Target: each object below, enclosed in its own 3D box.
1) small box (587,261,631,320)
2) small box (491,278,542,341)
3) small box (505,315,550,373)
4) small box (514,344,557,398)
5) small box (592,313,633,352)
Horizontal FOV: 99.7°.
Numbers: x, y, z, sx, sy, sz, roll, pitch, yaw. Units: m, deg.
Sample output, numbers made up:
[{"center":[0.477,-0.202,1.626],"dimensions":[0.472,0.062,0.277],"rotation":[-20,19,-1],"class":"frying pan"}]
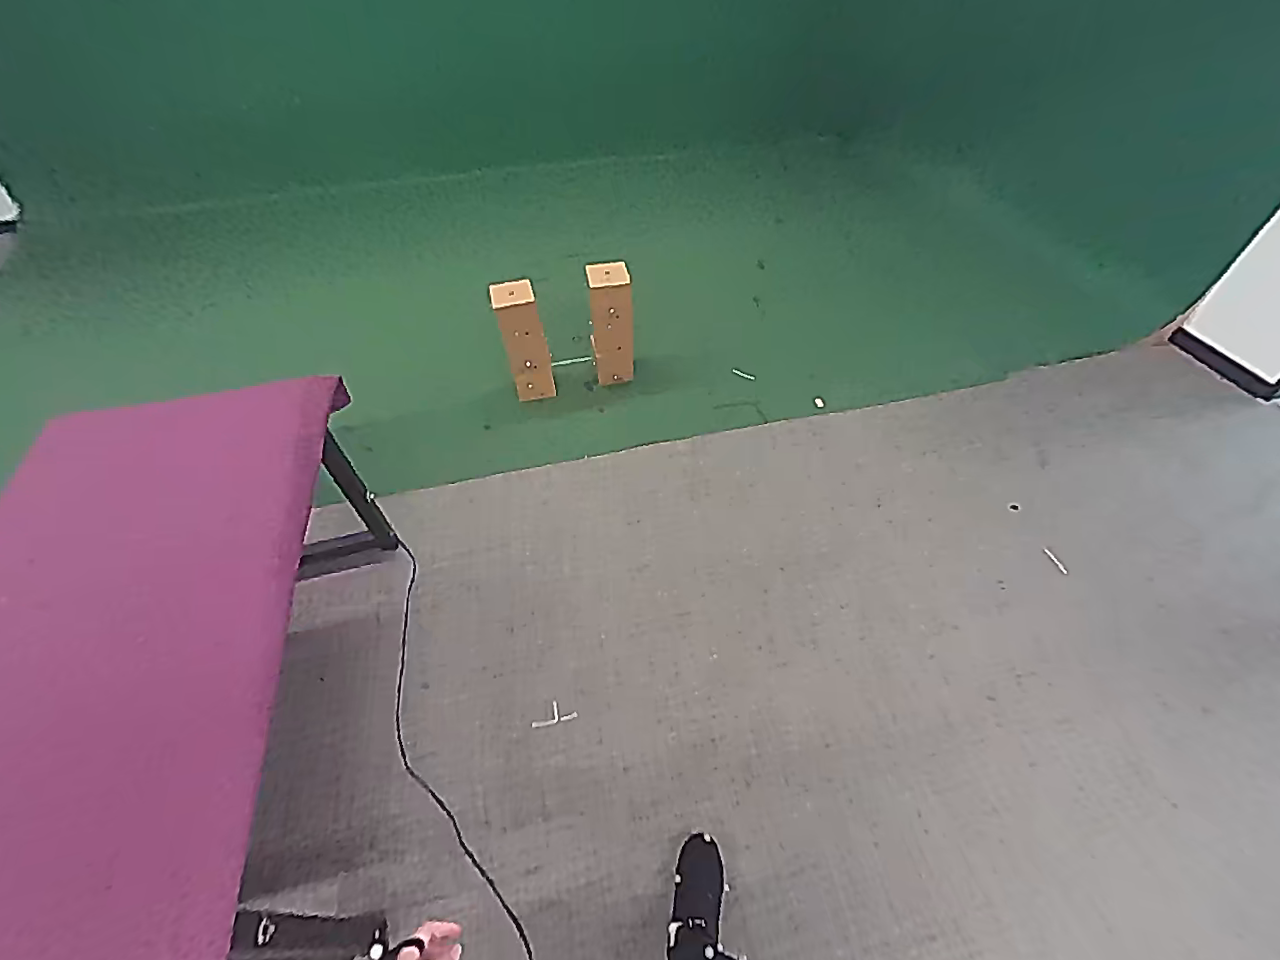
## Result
[{"center":[-0.129,-0.791,2.261],"dimensions":[0.168,0.176,0.179],"rotation":[-8,51,-5],"class":"small box"},{"center":[-0.501,-0.690,2.193],"dimensions":[0.168,0.176,0.179],"rotation":[-13,50,-8],"class":"small box"},{"center":[-0.489,-0.587,2.318],"dimensions":[0.168,0.176,0.179],"rotation":[-13,51,-8],"class":"small box"},{"center":[-0.478,-0.488,2.449],"dimensions":[0.168,0.176,0.179],"rotation":[-11,49,-7],"class":"small box"},{"center":[-0.124,-0.688,2.390],"dimensions":[0.168,0.176,0.179],"rotation":[-8,50,-5],"class":"small box"}]
